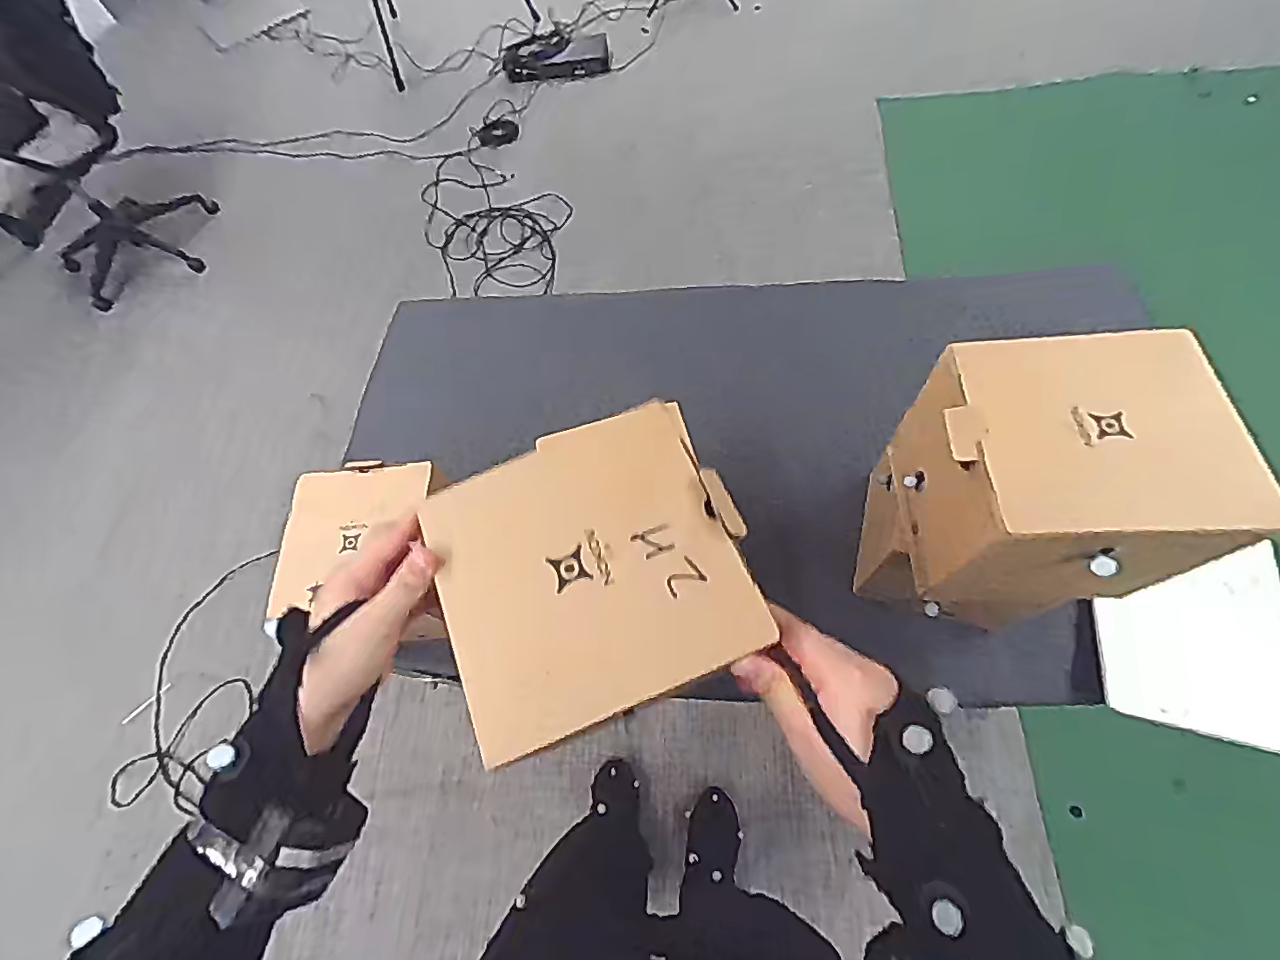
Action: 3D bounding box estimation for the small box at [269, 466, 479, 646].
[{"bbox_3d":[-0.316,0.102,0.685,0.168,0.176,0.179,-6,63,4],"label":"small box"}]

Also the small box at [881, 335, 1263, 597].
[{"bbox_3d":[0.331,-0.001,0.465,0.179,0.176,0.168,-3,63,8],"label":"small box"}]

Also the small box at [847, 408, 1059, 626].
[{"bbox_3d":[0.348,0.048,0.620,0.168,0.176,0.179,13,66,14],"label":"small box"}]

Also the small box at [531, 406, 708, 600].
[{"bbox_3d":[-0.019,0.038,0.679,0.179,0.176,0.168,-16,64,-1],"label":"small box"}]
